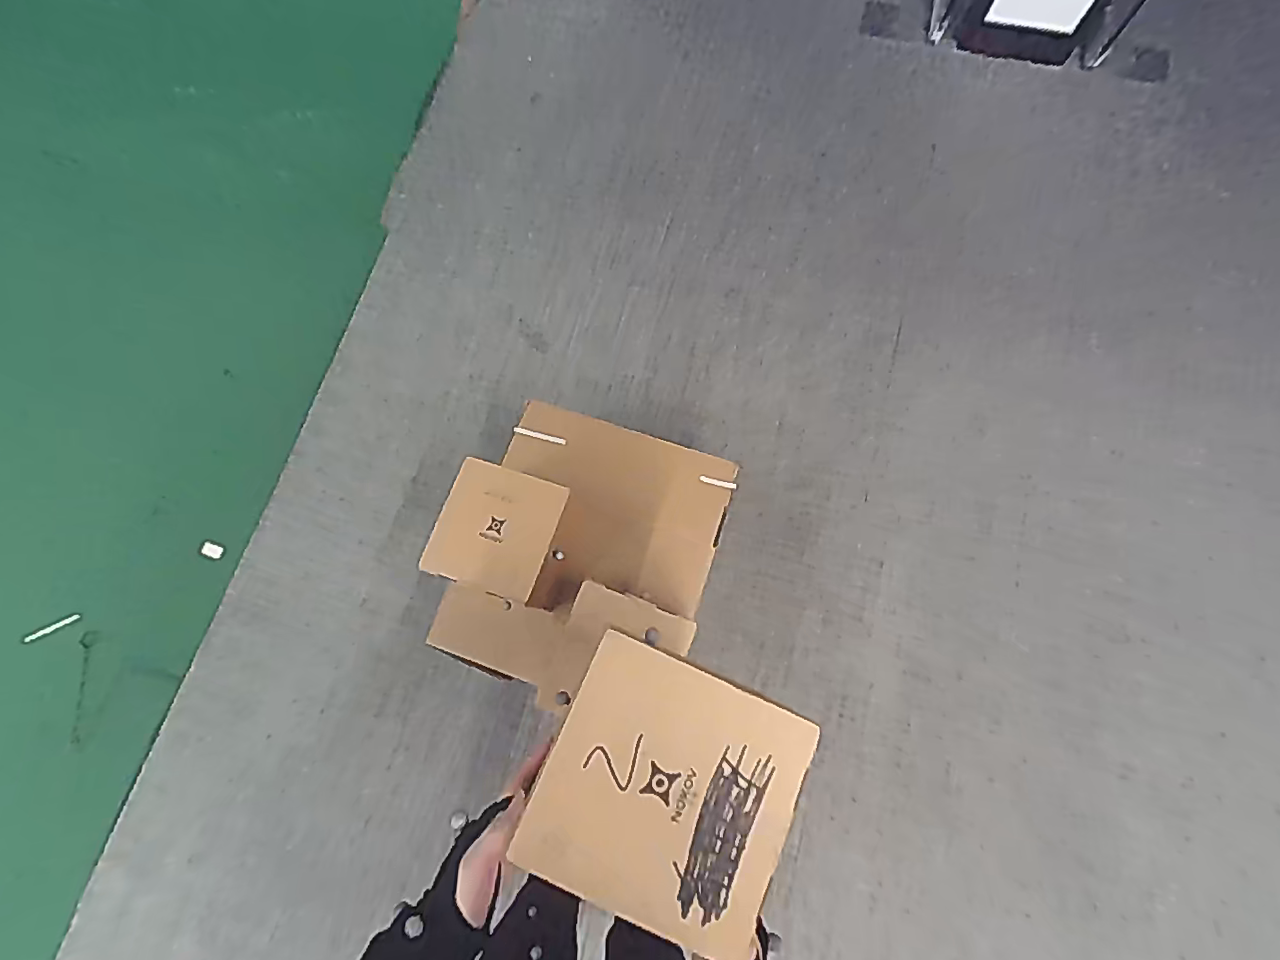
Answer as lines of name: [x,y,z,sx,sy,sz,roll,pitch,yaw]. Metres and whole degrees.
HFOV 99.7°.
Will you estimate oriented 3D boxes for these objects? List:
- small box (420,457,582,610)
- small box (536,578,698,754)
small box: [-0.199,0.092,0.834,0.168,0.176,0.179,18,75,7]
small box: [-0.028,0.259,0.779,0.168,0.176,0.179,20,75,7]
